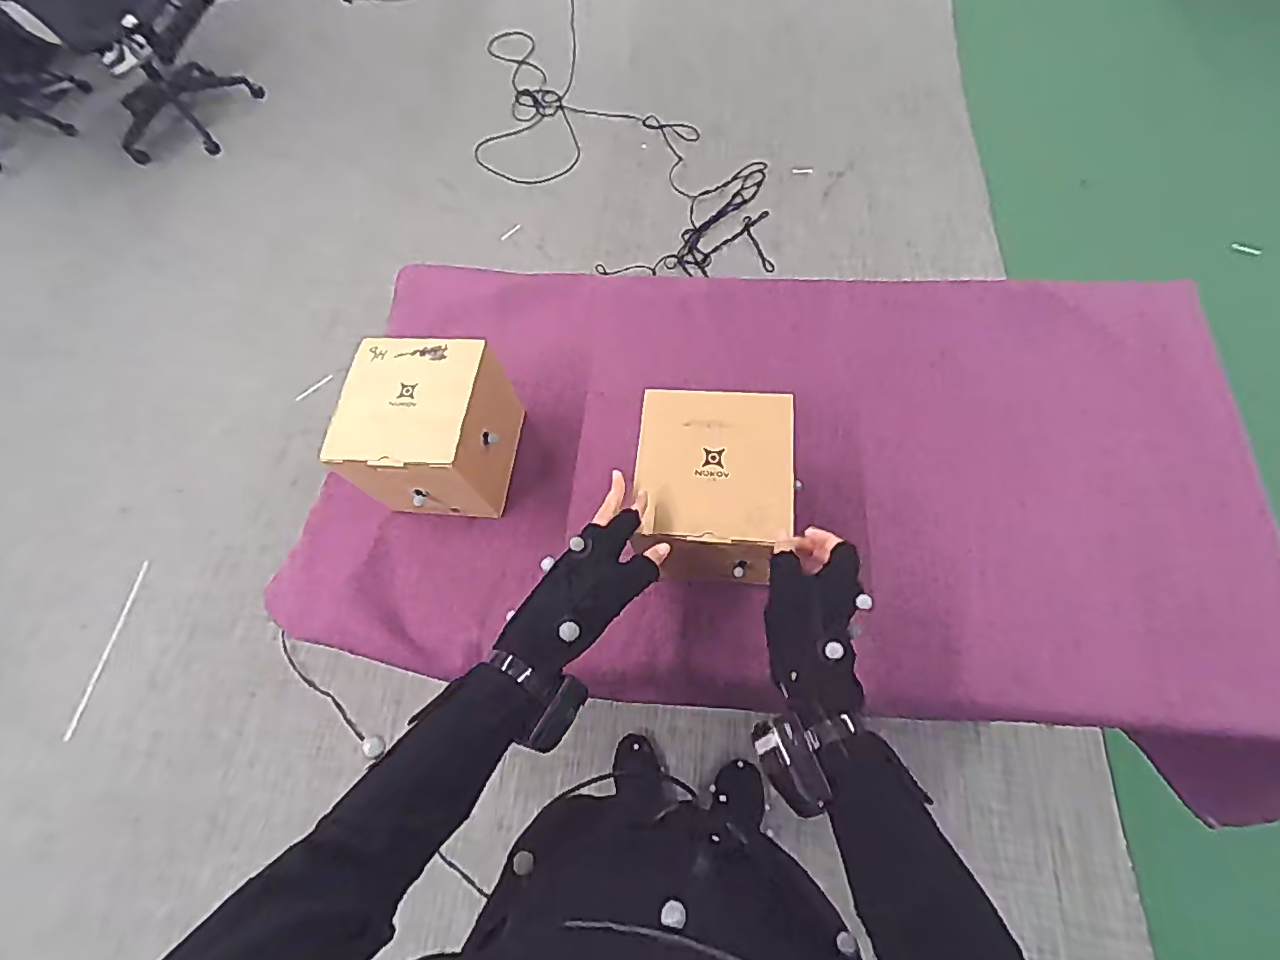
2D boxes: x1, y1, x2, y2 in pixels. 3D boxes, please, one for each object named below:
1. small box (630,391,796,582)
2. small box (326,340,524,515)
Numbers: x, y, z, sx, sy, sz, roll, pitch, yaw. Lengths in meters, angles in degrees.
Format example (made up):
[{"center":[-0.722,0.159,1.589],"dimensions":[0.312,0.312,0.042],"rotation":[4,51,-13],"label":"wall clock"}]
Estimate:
[{"center":[0.088,0.015,0.640],"dimensions":[0.168,0.176,0.179],"rotation":[4,66,8],"label":"small box"},{"center":[-0.265,-0.062,0.714],"dimensions":[0.168,0.176,0.179],"rotation":[3,67,7],"label":"small box"}]
